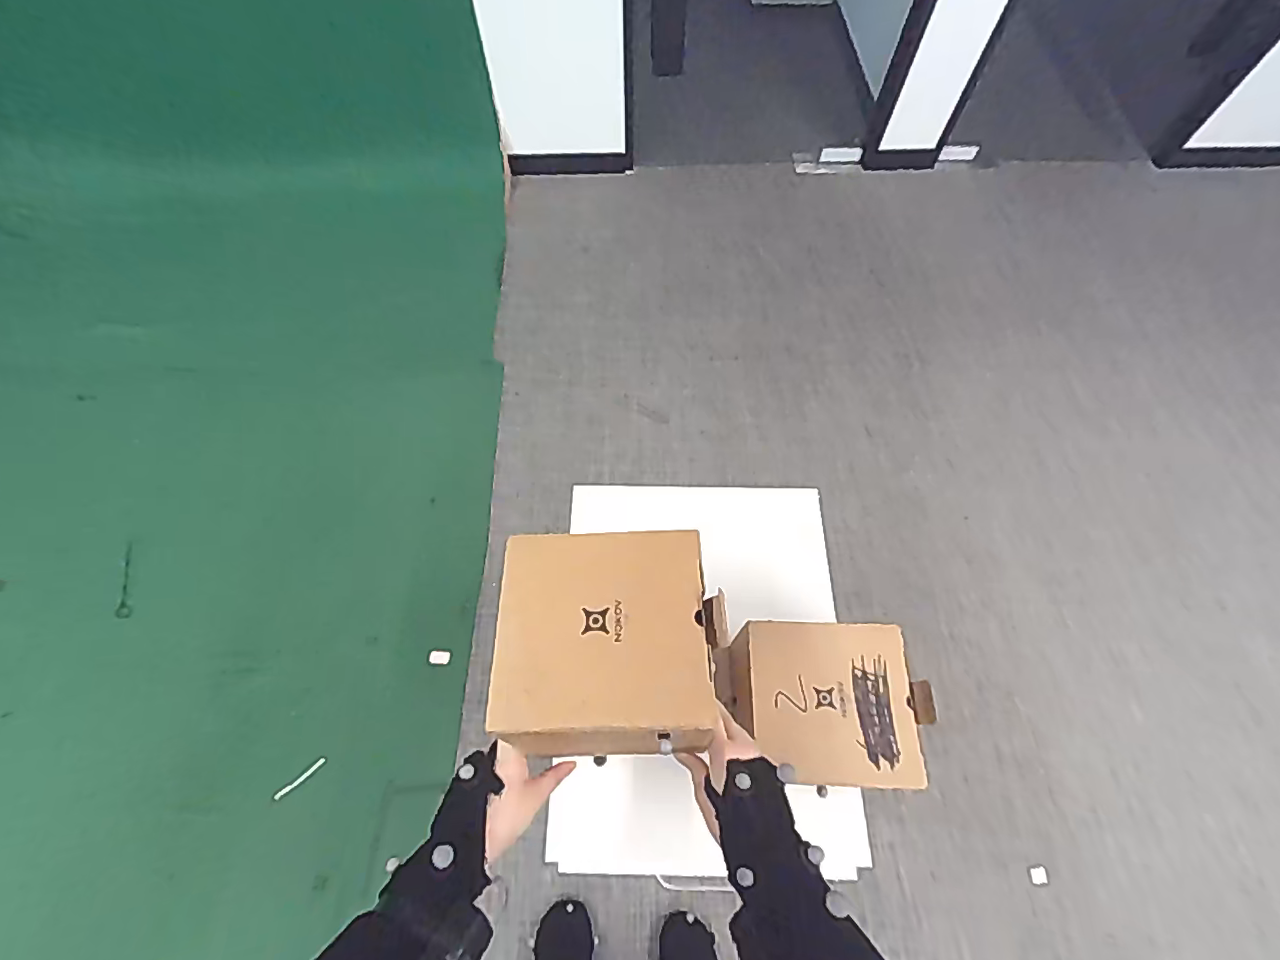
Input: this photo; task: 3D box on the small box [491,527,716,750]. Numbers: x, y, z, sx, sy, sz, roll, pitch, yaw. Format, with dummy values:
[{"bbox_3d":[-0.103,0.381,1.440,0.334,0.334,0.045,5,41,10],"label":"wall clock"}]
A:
[{"bbox_3d":[-0.027,0.158,0.520,0.179,0.176,0.168,-2,57,0],"label":"small box"}]
